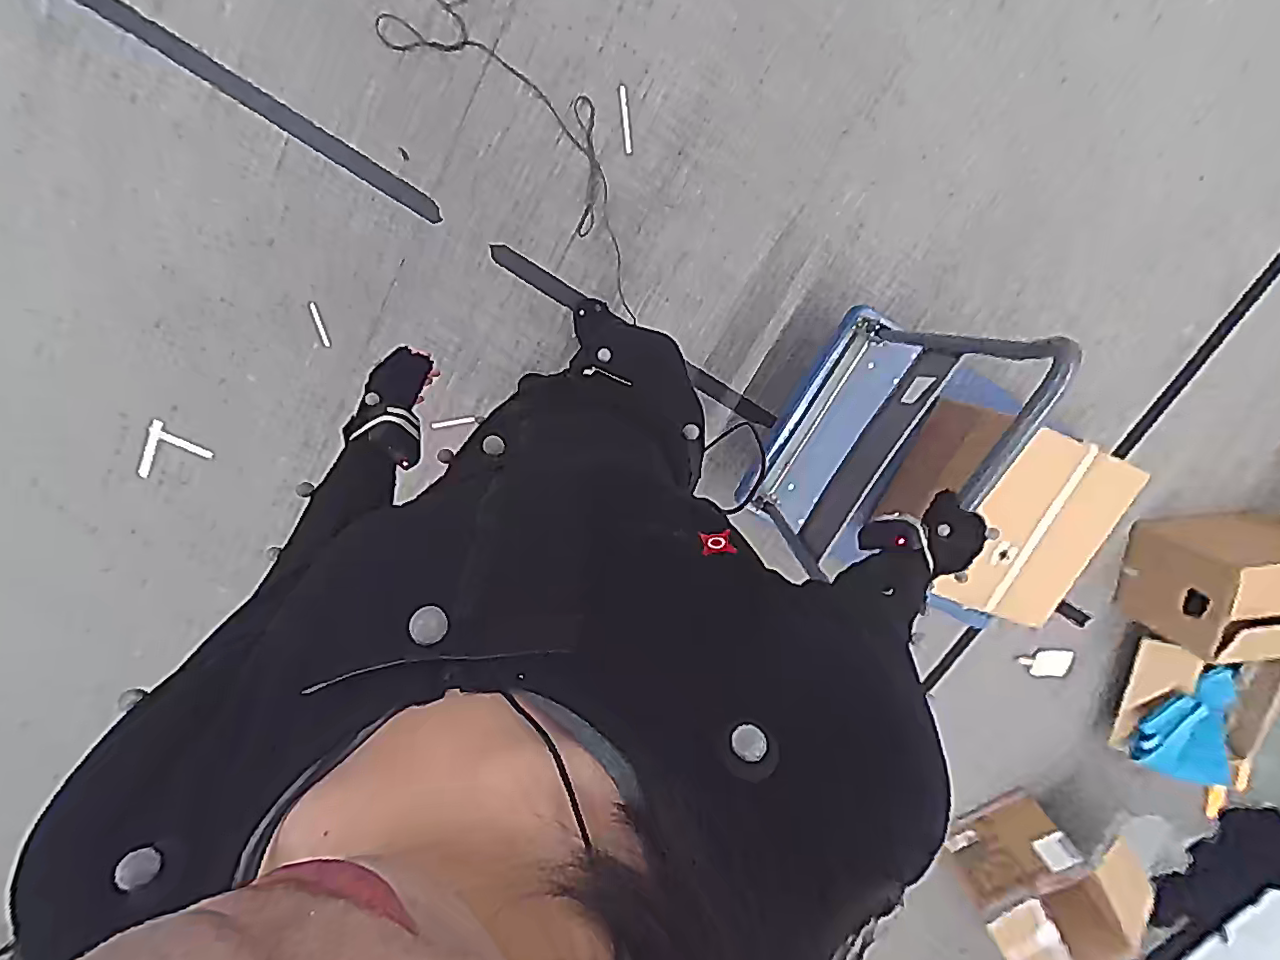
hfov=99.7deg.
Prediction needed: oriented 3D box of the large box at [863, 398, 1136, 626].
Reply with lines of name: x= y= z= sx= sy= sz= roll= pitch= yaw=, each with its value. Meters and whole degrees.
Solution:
large box: x=0.817 y=0.062 z=1.293 sx=0.320 sy=0.320 sz=0.408 roll=20 pitch=107 yaw=-10
